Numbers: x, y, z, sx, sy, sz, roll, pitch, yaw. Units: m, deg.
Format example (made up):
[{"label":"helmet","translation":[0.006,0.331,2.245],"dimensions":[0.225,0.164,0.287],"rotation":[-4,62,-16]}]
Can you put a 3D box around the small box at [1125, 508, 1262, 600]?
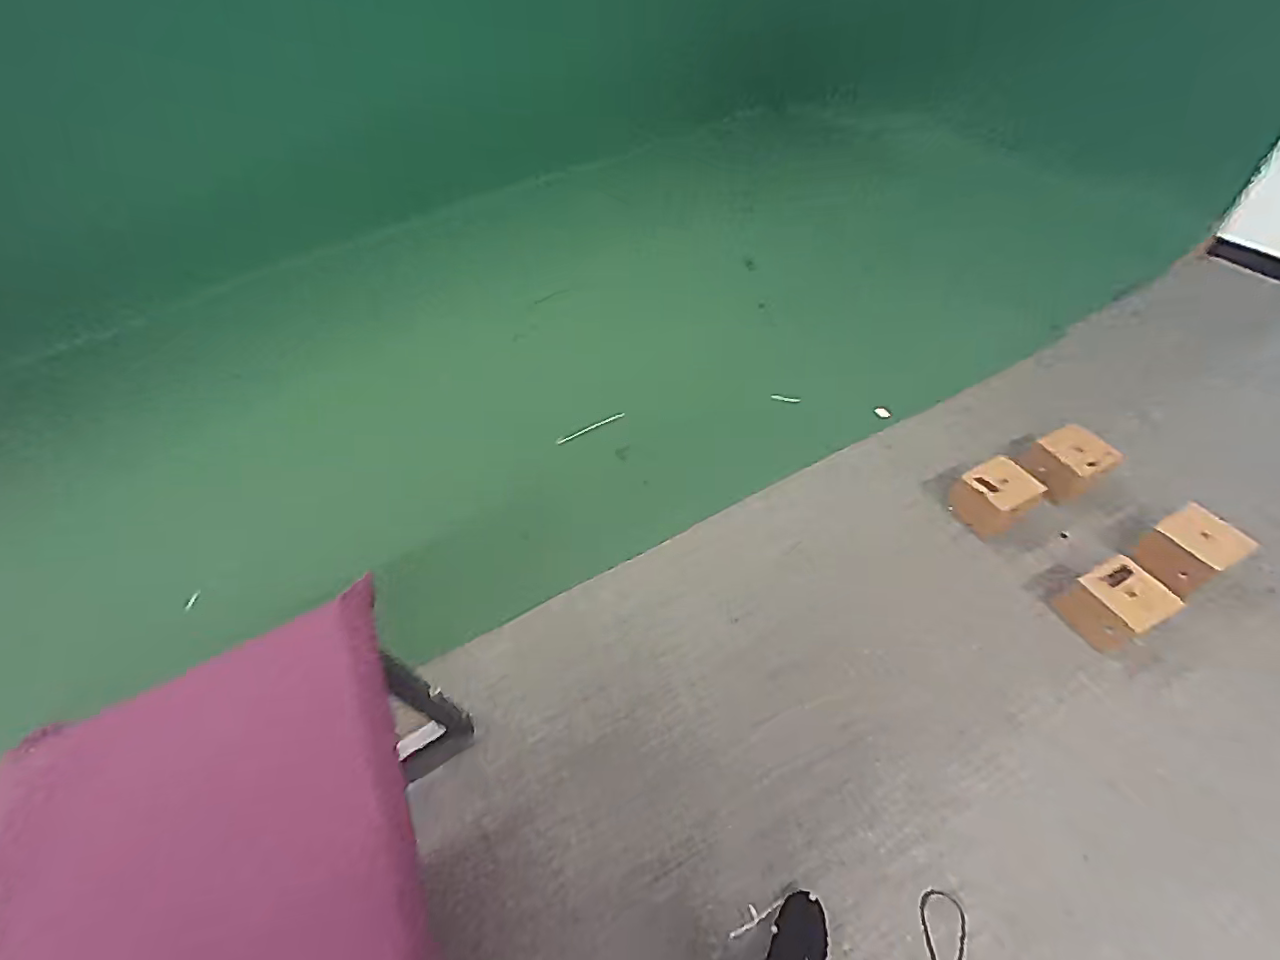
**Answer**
[{"label":"small box","translation":[1.562,0.218,1.538],"dimensions":[0.168,0.176,0.179],"rotation":[-25,51,-12]}]

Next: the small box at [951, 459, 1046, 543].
[{"label":"small box","translation":[1.130,0.071,1.727],"dimensions":[0.179,0.176,0.168],"rotation":[-24,52,-11]}]

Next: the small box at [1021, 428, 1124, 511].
[{"label":"small box","translation":[1.398,-0.032,1.768],"dimensions":[0.168,0.176,0.179],"rotation":[-23,51,-9]}]
